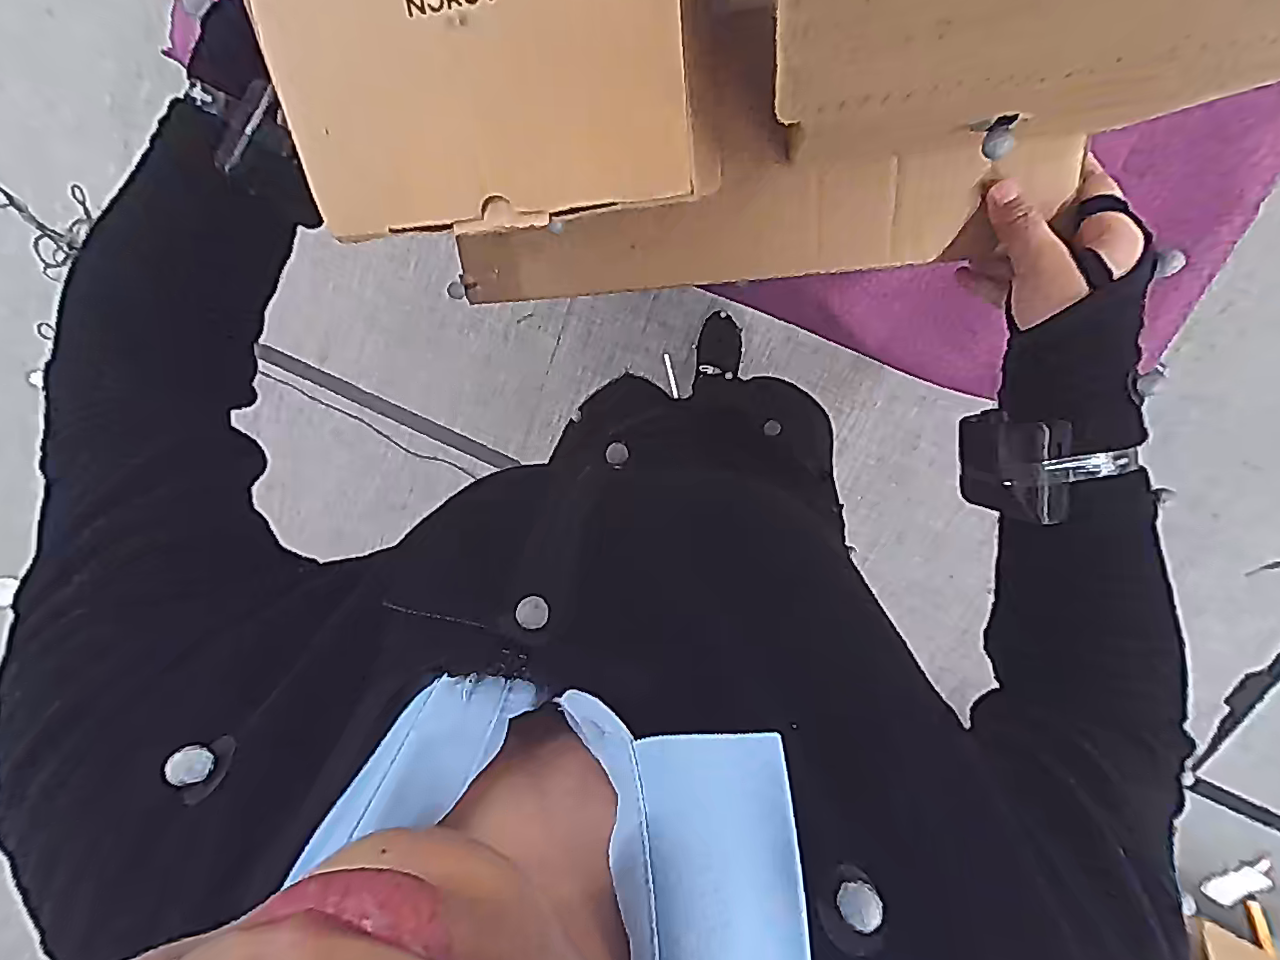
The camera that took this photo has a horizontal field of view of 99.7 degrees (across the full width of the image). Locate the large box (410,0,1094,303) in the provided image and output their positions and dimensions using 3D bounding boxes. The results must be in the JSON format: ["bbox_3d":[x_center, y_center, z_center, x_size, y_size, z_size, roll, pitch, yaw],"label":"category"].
[{"bbox_3d":[0.080,-0.342,0.451,0.408,0.320,0.320,-1,111,14],"label":"large box"}]
